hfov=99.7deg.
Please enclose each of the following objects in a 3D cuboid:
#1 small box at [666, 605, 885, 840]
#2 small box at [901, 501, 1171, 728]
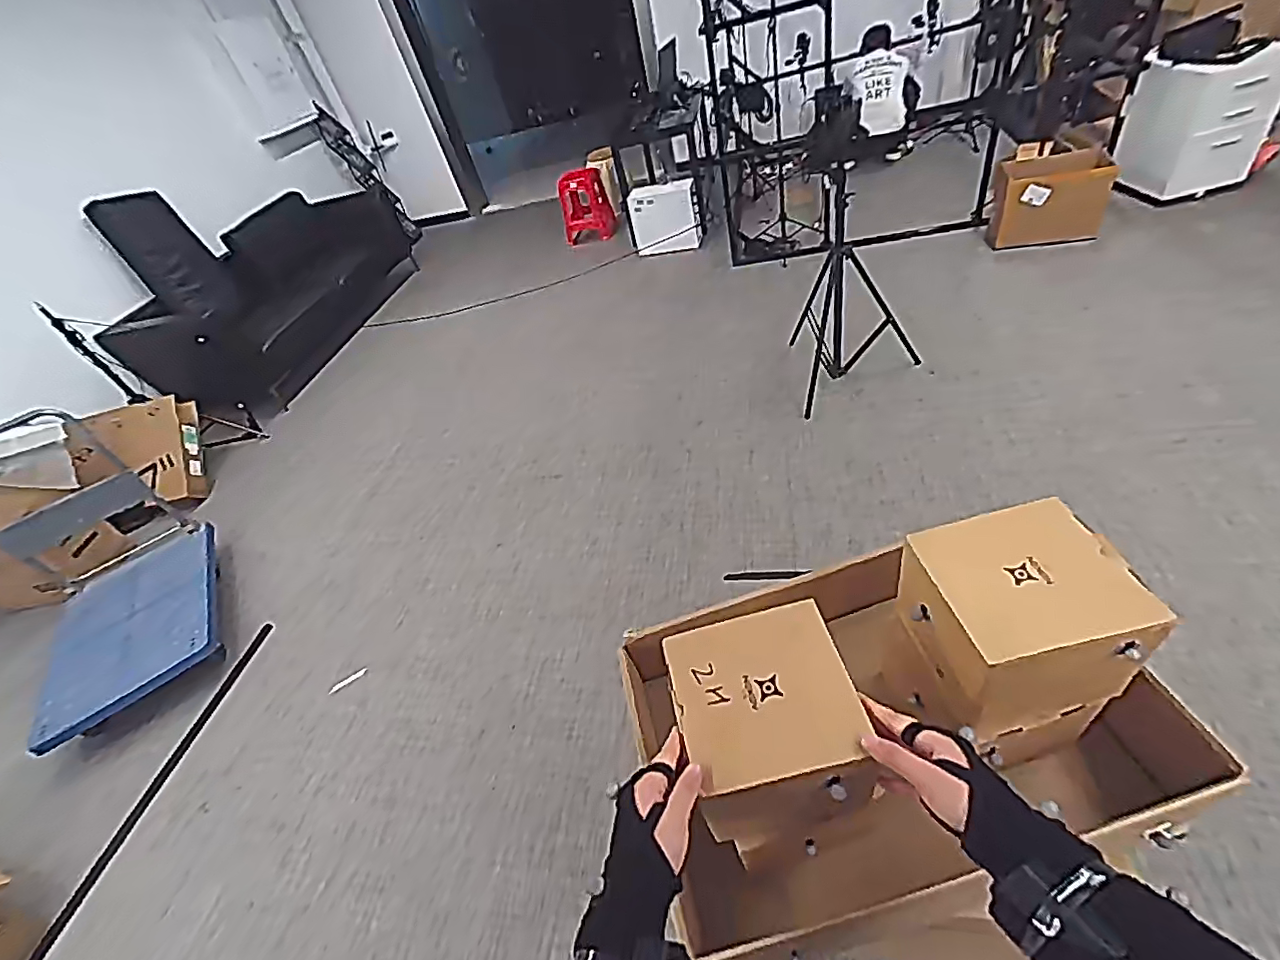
[{"bbox_3d":[0.140,0.268,0.593,0.179,0.176,0.168,-16,43,3],"label":"small box"},{"bbox_3d":[0.417,0.156,0.612,0.179,0.176,0.168,-16,43,4],"label":"small box"}]
